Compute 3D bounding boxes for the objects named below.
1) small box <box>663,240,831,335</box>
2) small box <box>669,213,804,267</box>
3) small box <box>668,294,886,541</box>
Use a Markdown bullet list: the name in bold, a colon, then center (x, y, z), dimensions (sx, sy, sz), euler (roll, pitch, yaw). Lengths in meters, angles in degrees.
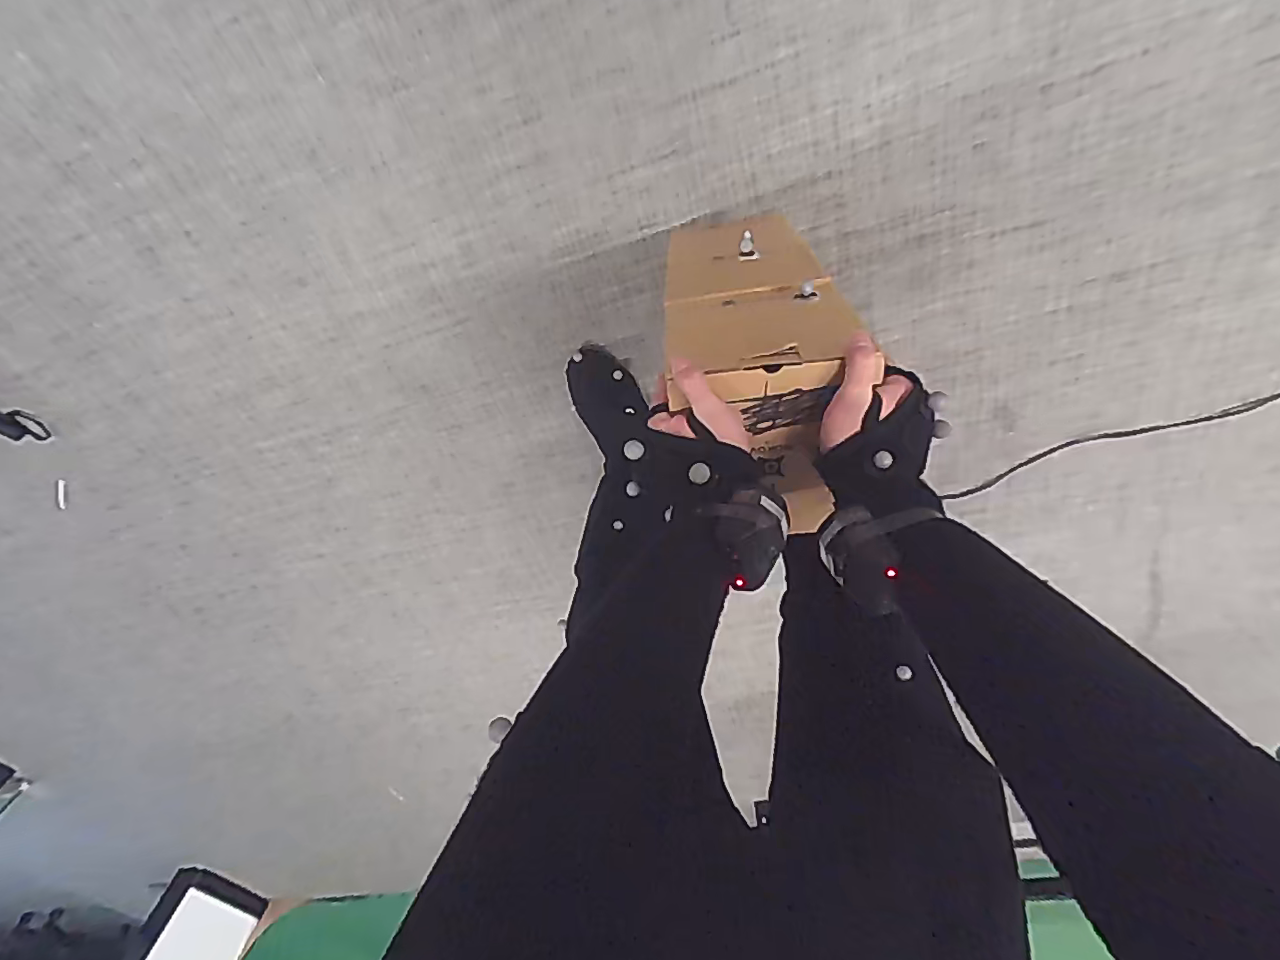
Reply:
- **small box**: center (0.124, -0.166, 0.644), dimensions (0.168, 0.176, 0.179), euler (-6, 125, 9)
- **small box**: center (0.136, -0.261, 0.773), dimensions (0.168, 0.176, 0.179), euler (-4, 126, 9)
- **small box**: center (0.116, -0.065, 0.516), dimensions (0.168, 0.176, 0.179), euler (-5, 127, 8)
